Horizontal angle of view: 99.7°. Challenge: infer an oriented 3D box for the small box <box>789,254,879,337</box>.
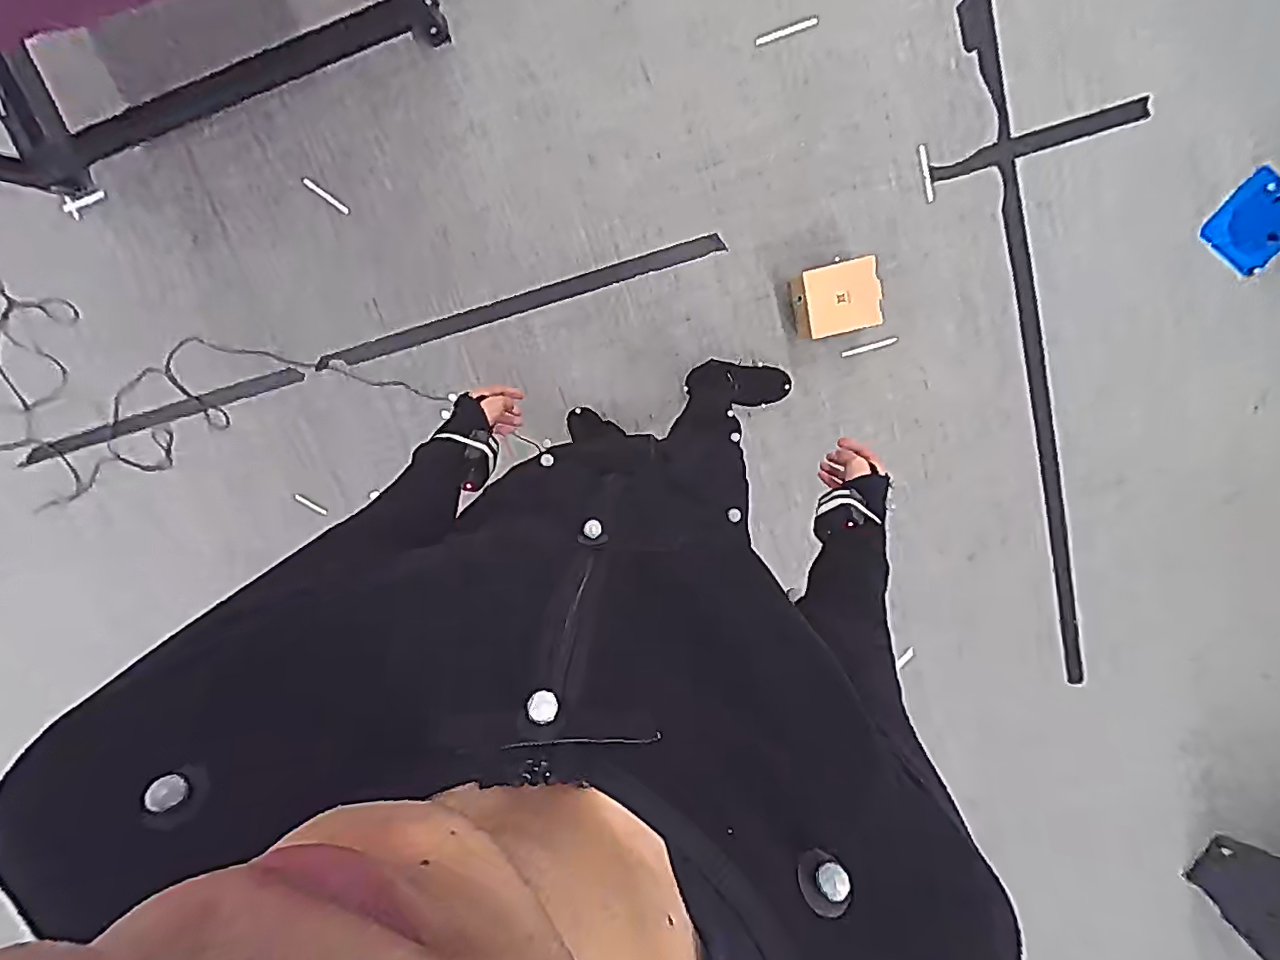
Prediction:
[{"bbox_3d":[0.495,-0.469,1.402,0.179,0.176,0.168,-12,104,6],"label":"small box"}]
